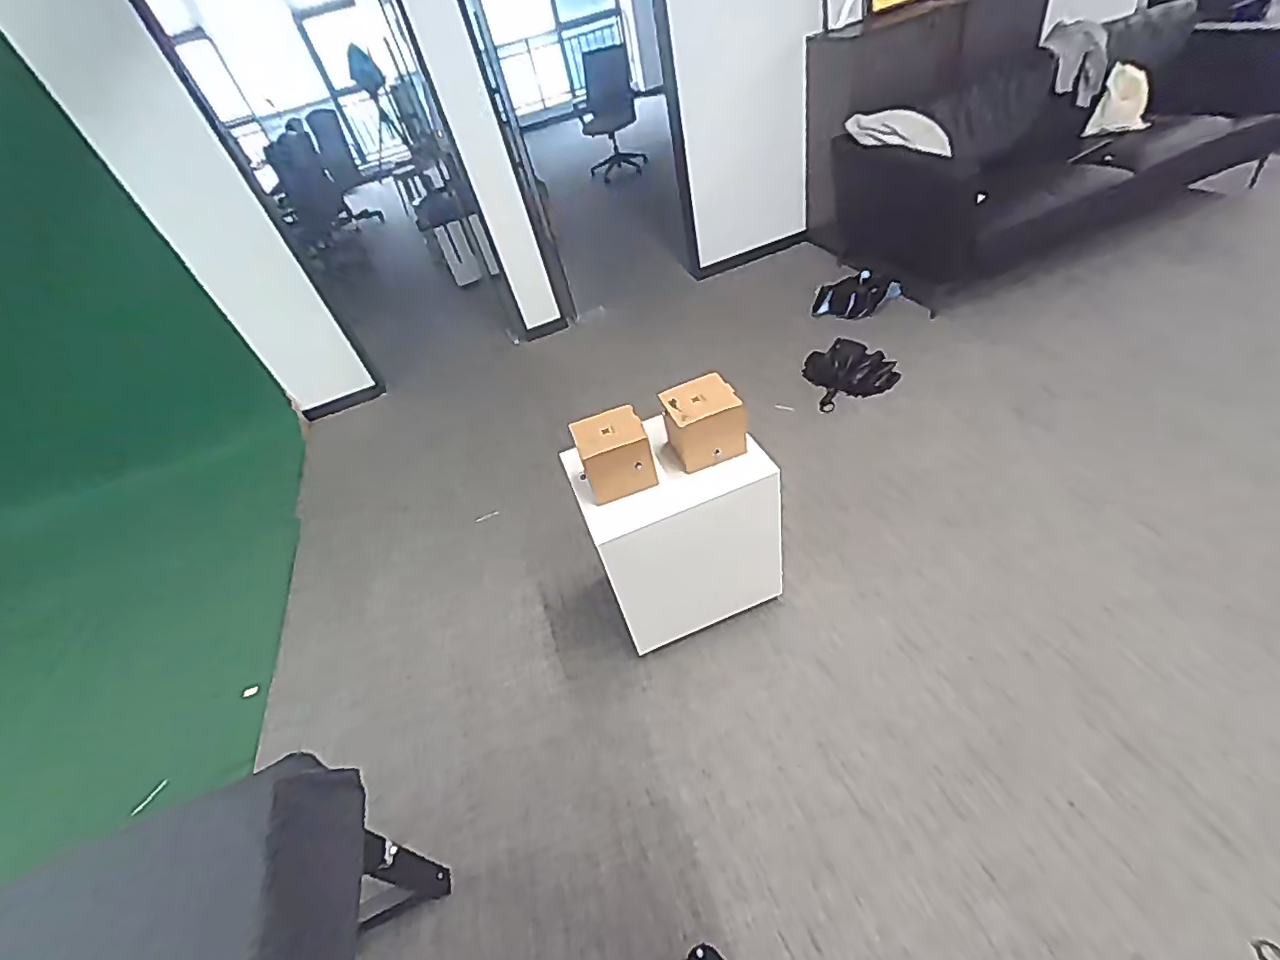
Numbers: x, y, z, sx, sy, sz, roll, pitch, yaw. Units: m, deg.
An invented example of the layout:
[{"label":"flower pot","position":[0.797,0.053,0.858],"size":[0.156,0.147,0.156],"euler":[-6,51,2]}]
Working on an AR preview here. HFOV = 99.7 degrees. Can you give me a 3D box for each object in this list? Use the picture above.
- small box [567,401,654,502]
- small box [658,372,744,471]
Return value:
[{"label":"small box","position":[-0.071,-0.072,1.411],"size":[0.179,0.176,0.168],"euler":[-21,42,-6]},{"label":"small box","position":[0.163,-0.154,1.434],"size":[0.179,0.176,0.168],"euler":[-20,43,-7]}]
